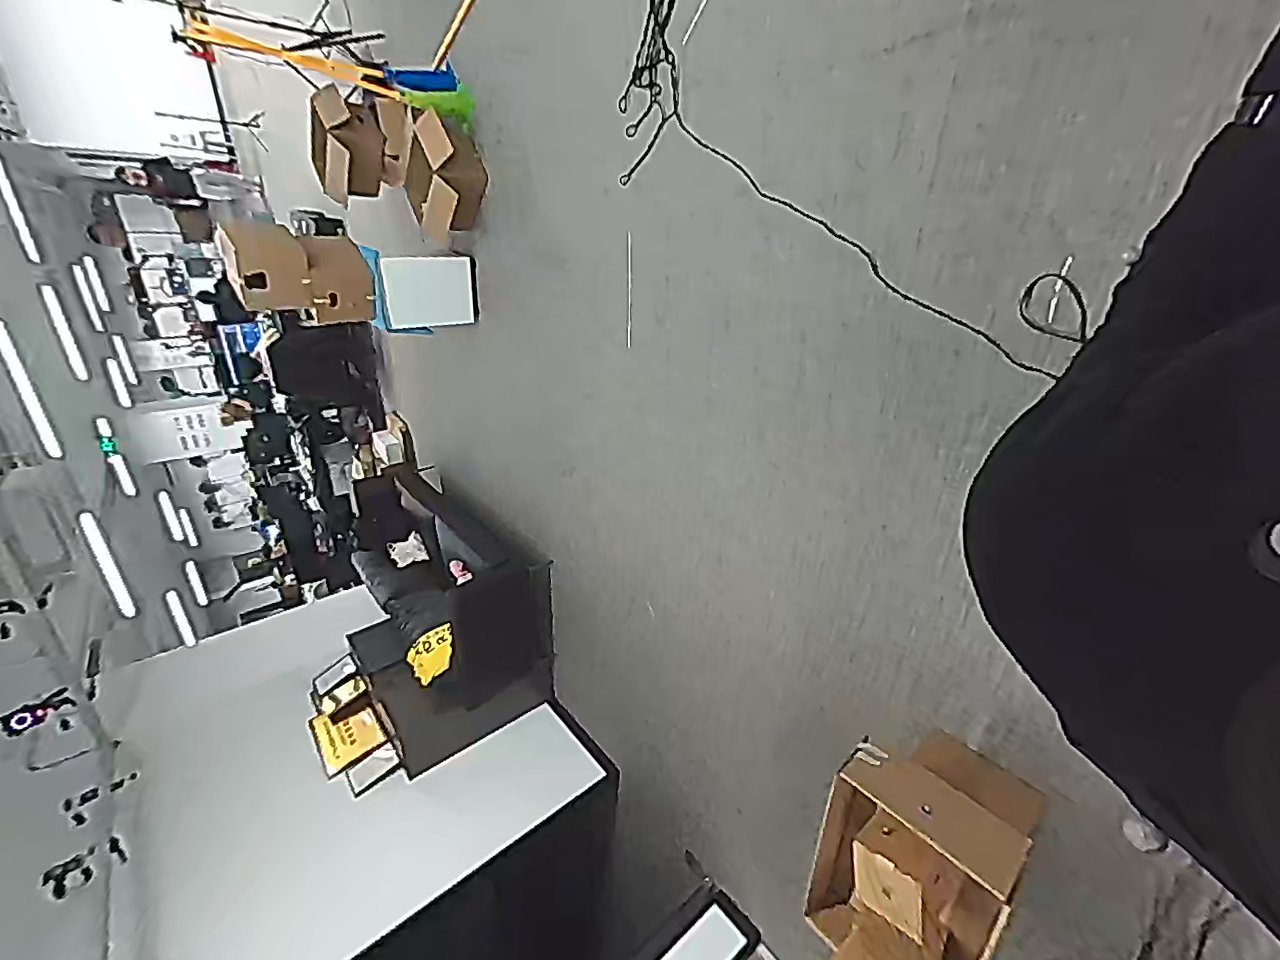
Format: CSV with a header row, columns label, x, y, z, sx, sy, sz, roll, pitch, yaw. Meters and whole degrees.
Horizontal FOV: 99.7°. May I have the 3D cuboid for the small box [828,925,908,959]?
label,x,y,z,sx,sy,sz,roll,pitch,yaw
small box,0.558,1.232,1.302,0.179,0.176,0.168,19,119,46

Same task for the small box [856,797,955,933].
label,x,y,z,sx,sy,sz,roll,pitch,yaw
small box,0.654,0.932,1.330,0.168,0.176,0.179,9,112,51
